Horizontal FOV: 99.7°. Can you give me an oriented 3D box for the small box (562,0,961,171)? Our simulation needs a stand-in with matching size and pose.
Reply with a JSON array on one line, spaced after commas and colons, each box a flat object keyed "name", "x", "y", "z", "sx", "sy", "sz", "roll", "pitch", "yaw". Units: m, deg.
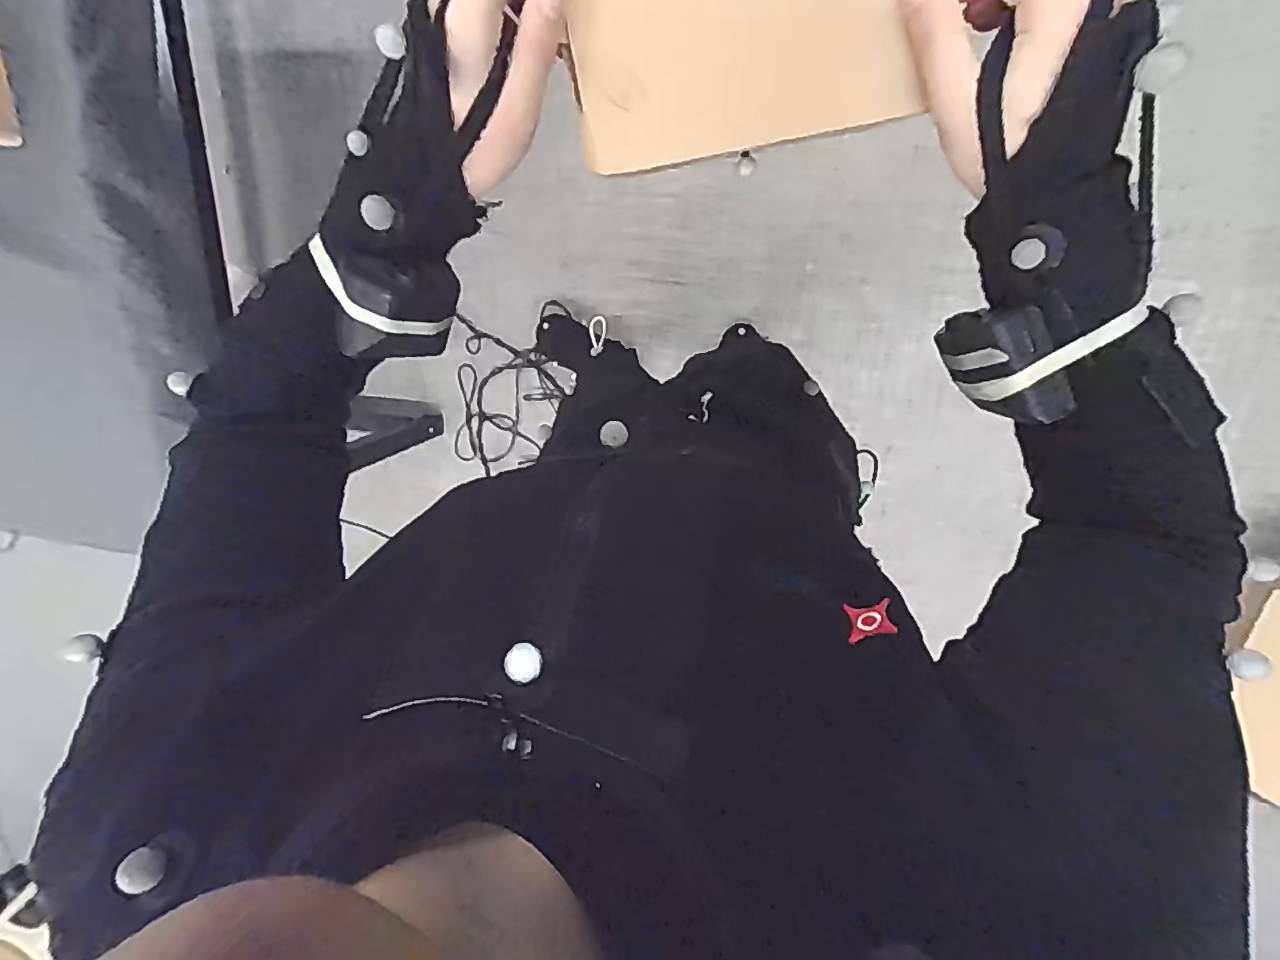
[{"name": "small box", "x": 0.059, "y": -0.277, "z": 0.298, "sx": 0.179, "sy": 0.176, "sz": 0.168, "roll": -4, "pitch": 120, "yaw": 13}]
